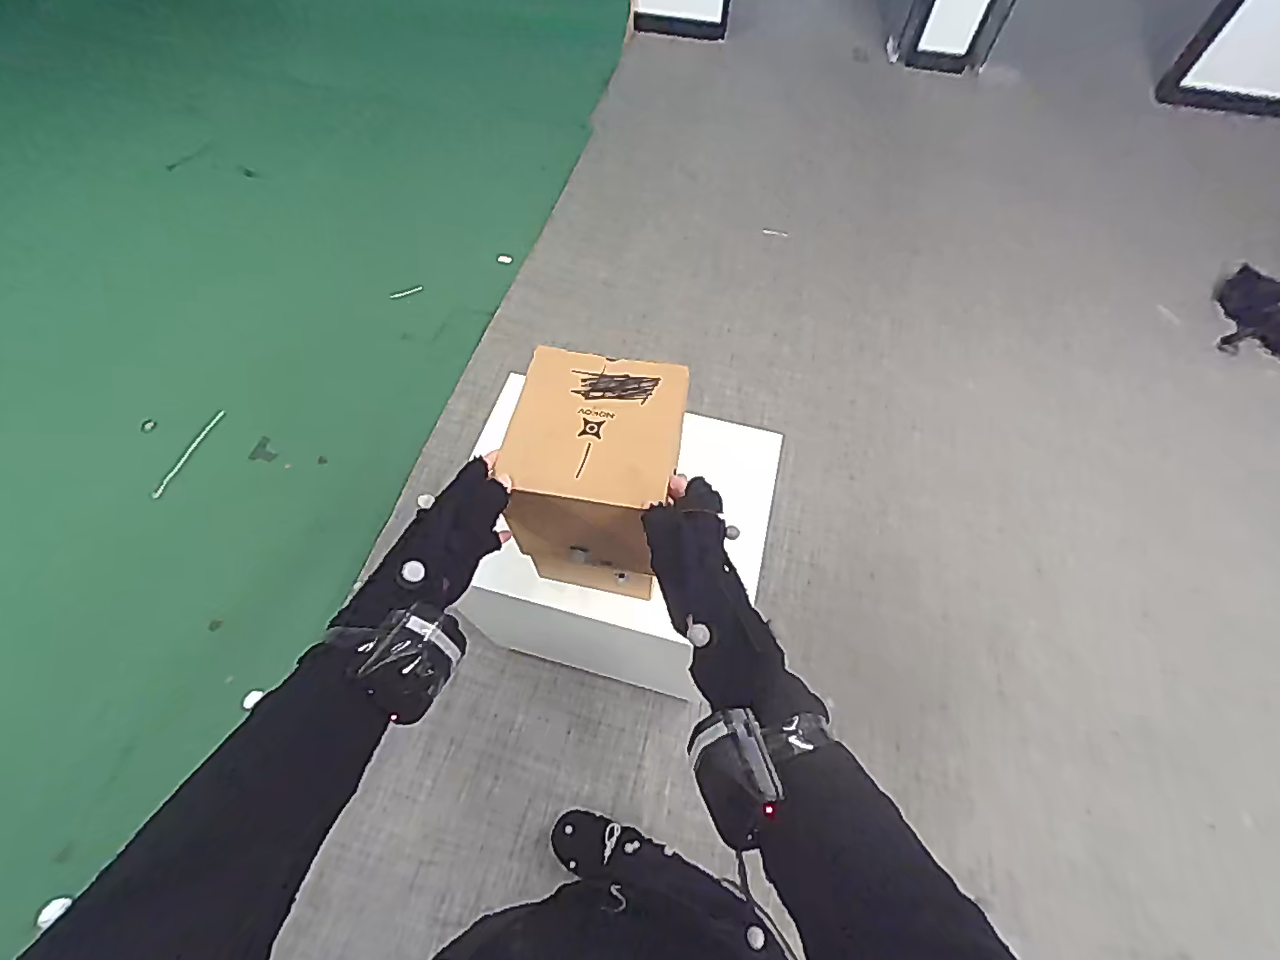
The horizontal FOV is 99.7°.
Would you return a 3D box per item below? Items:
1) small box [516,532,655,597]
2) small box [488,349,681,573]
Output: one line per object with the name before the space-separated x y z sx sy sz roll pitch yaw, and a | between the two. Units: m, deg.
small box | -0.055 0.056 0.773 0.179 0.176 0.168 10 61 6
small box | -0.048 -0.017 0.596 0.168 0.176 0.179 5 59 4
